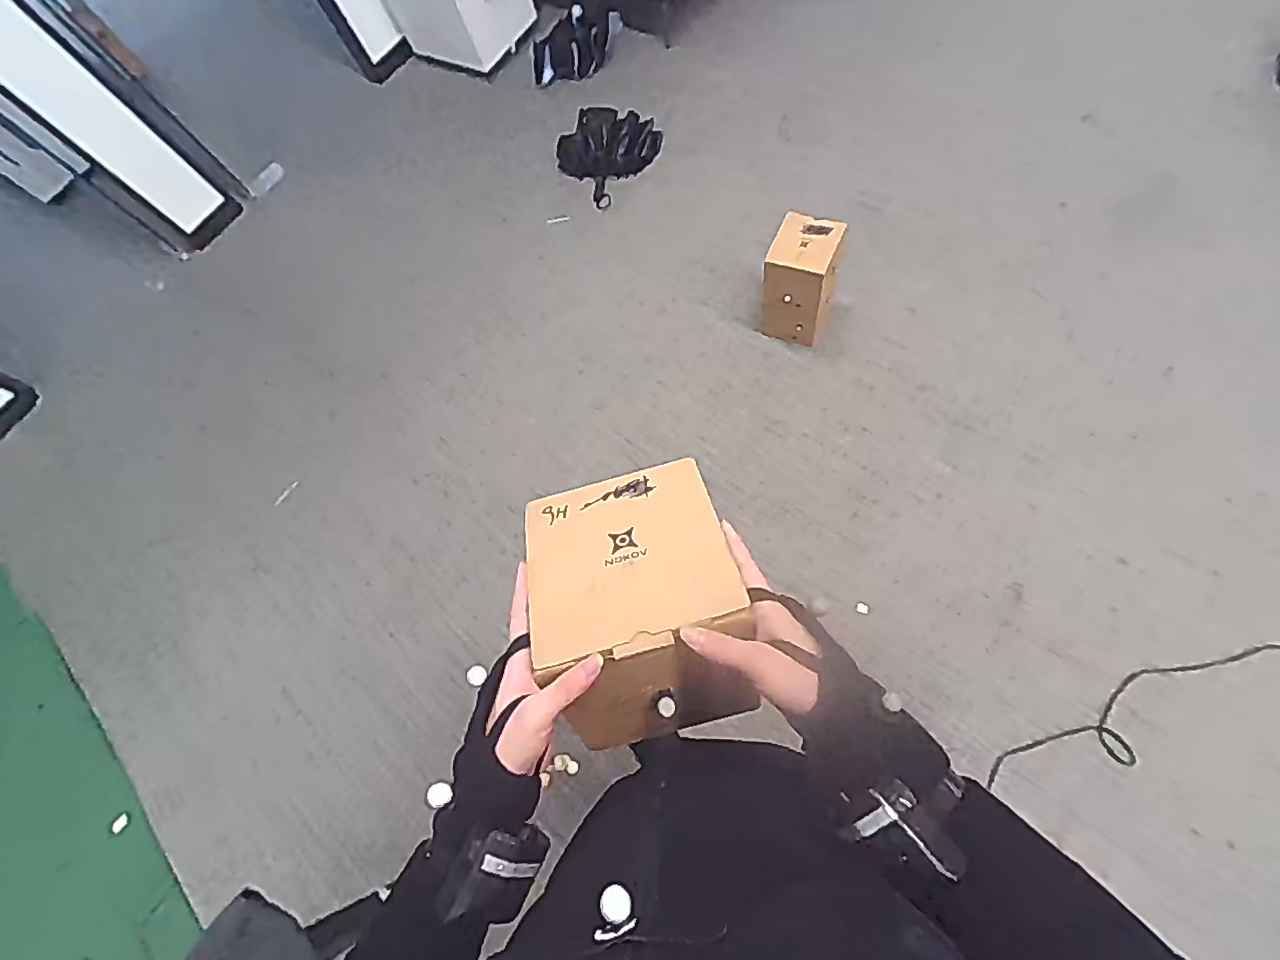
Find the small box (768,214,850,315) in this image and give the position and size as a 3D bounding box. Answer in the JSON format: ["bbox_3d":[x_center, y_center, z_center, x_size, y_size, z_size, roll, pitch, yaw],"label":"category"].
[{"bbox_3d":[0.457,-0.589,1.485,0.168,0.176,0.179,21,76,20],"label":"small box"}]

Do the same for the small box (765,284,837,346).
[{"bbox_3d":[0.489,-0.534,1.637,0.168,0.176,0.179,20,73,19],"label":"small box"}]
